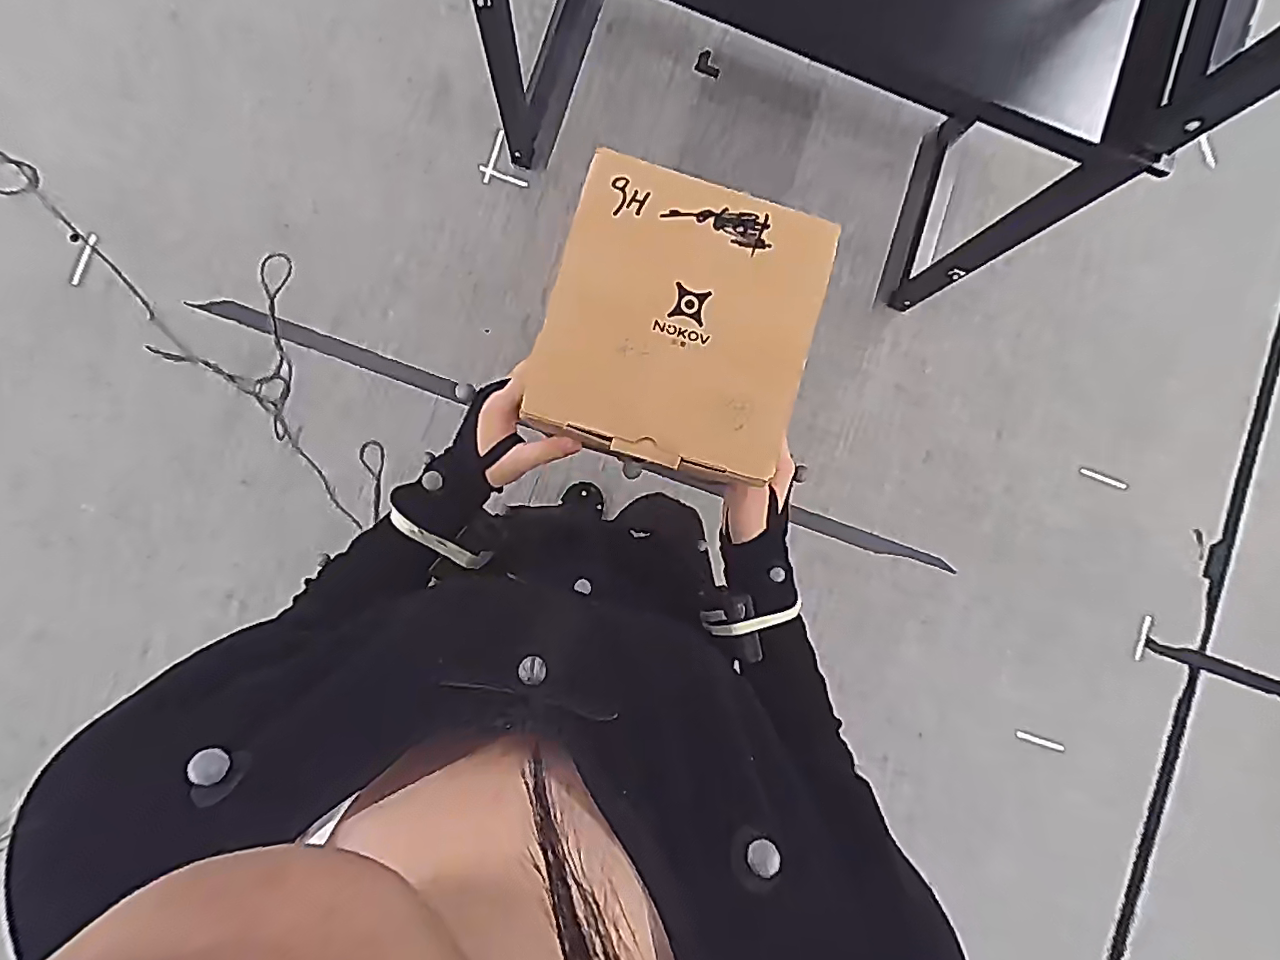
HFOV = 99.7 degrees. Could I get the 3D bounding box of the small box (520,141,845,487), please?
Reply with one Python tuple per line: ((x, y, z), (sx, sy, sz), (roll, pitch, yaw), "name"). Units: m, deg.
((0.022, -0.101, 0.411), (0.168, 0.176, 0.179), (16, 89, -5), "small box")
